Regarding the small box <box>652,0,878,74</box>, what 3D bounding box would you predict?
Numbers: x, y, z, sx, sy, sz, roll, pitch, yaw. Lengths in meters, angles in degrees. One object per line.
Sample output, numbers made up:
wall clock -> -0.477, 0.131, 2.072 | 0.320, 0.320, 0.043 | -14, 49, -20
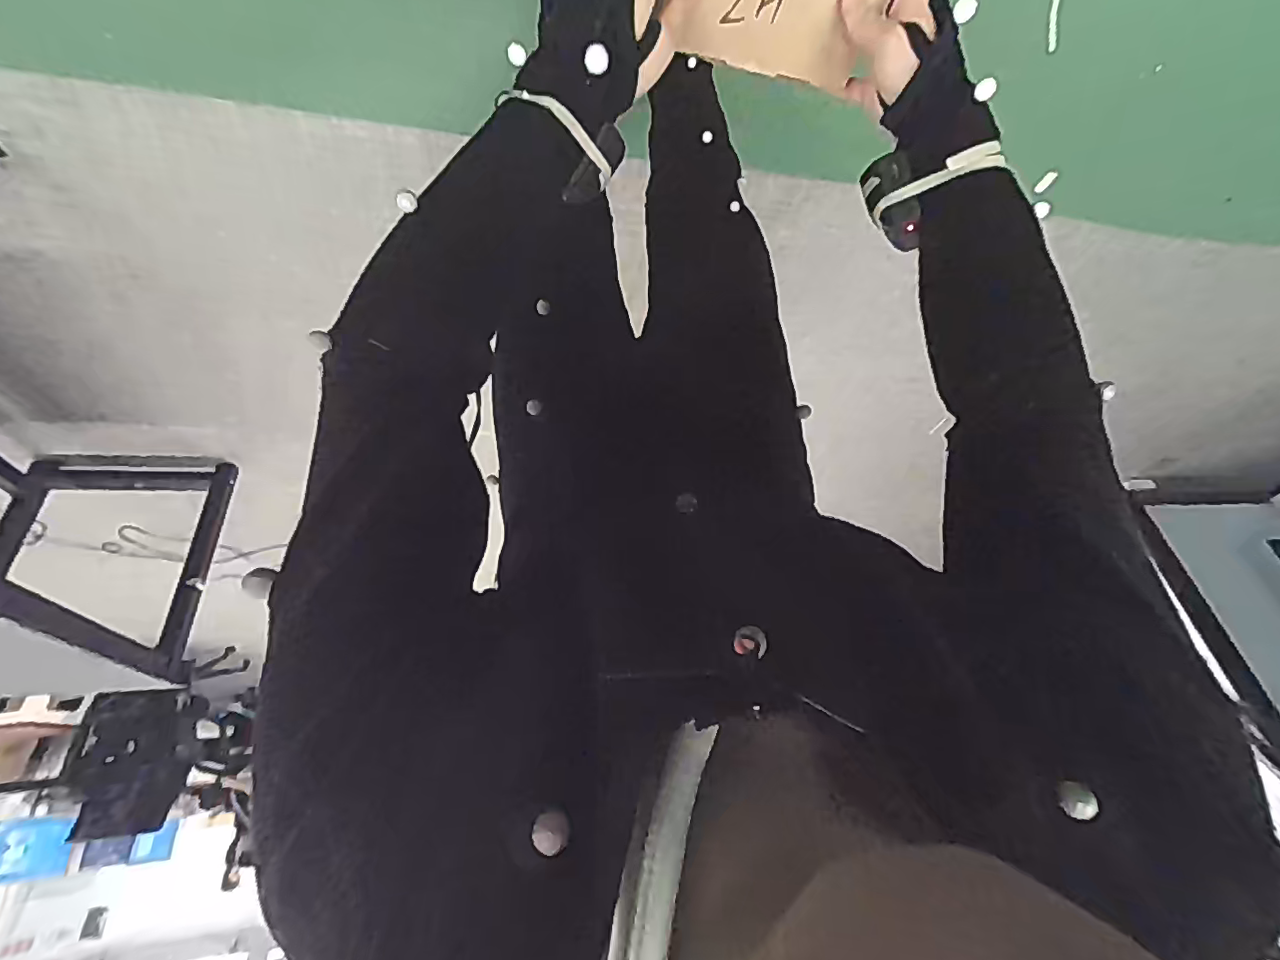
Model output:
small box -> 0.099, -0.446, 0.386 | 0.168, 0.176, 0.179 | 3, 151, -14
